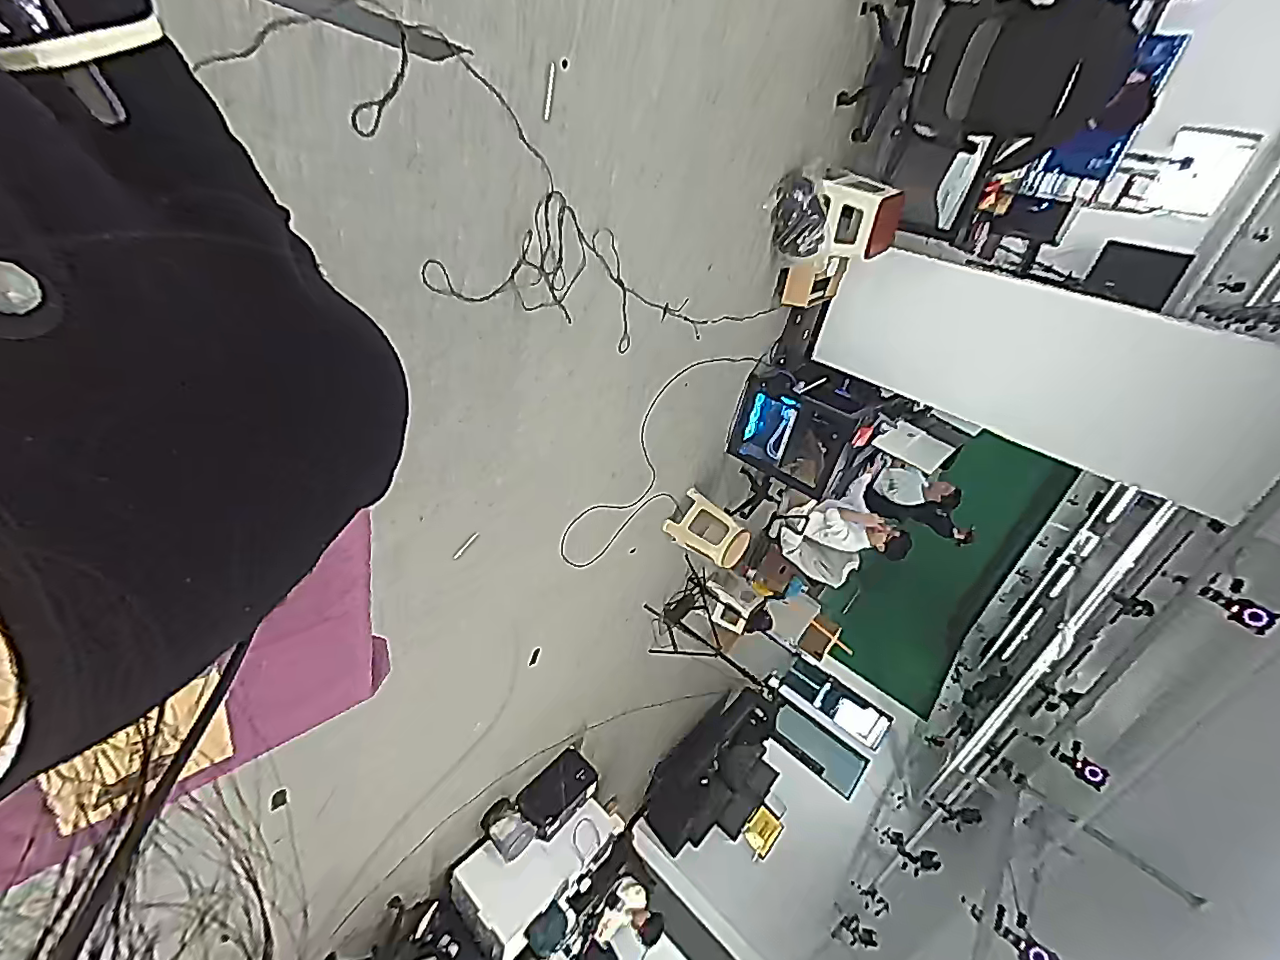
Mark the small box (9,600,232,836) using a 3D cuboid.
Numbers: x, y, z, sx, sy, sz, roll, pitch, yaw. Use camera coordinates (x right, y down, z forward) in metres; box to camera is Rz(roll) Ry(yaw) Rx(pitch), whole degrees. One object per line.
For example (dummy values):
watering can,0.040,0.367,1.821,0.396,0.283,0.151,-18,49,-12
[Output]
small box,-0.652,0.288,0.689,0.168,0.176,0.179,-19,132,-48
